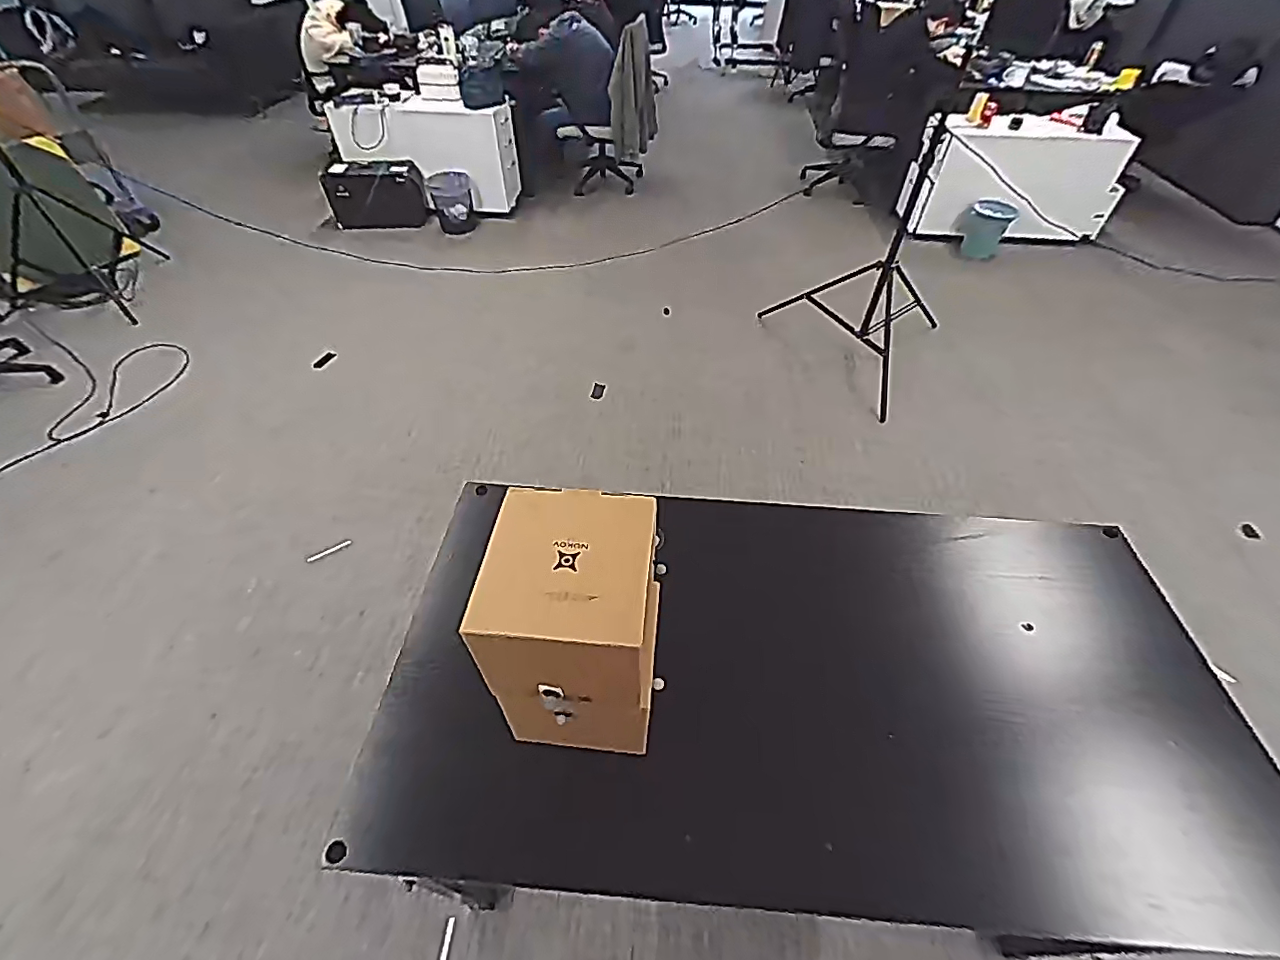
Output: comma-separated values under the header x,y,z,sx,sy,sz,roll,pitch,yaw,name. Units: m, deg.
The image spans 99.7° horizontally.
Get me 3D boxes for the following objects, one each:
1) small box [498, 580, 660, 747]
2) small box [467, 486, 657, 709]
x,y,z,sx,sy,sz,roll,pitch,yaw,name
-0.070,0.238,0.718,0.179,0.176,0.168,5,48,3,small box
-0.070,0.129,0.598,0.168,0.176,0.179,3,48,3,small box
